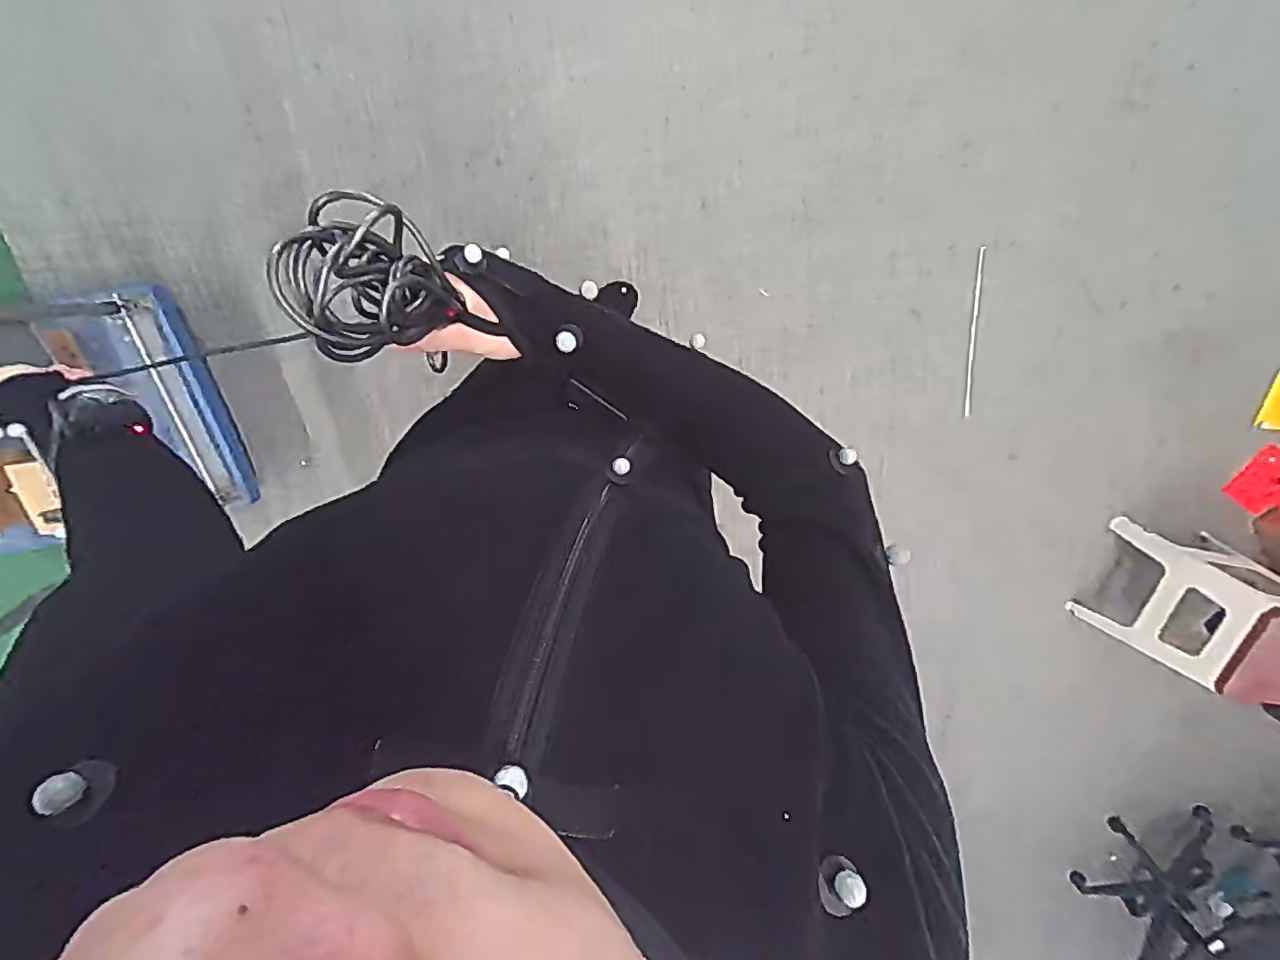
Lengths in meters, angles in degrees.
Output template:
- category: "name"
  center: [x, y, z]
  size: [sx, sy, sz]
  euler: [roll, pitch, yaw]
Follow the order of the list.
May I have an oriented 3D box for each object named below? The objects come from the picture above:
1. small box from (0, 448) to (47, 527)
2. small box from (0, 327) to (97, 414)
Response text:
- category: "small box"
  center: [-1.603, 0.035, 1.295]
  size: [0.179, 0.176, 0.168]
  euler: [-14, 110, 1]
- category: "small box"
  center: [-1.399, -0.242, 1.205]
  size: [0.179, 0.176, 0.168]
  euler: [-10, 111, -1]
